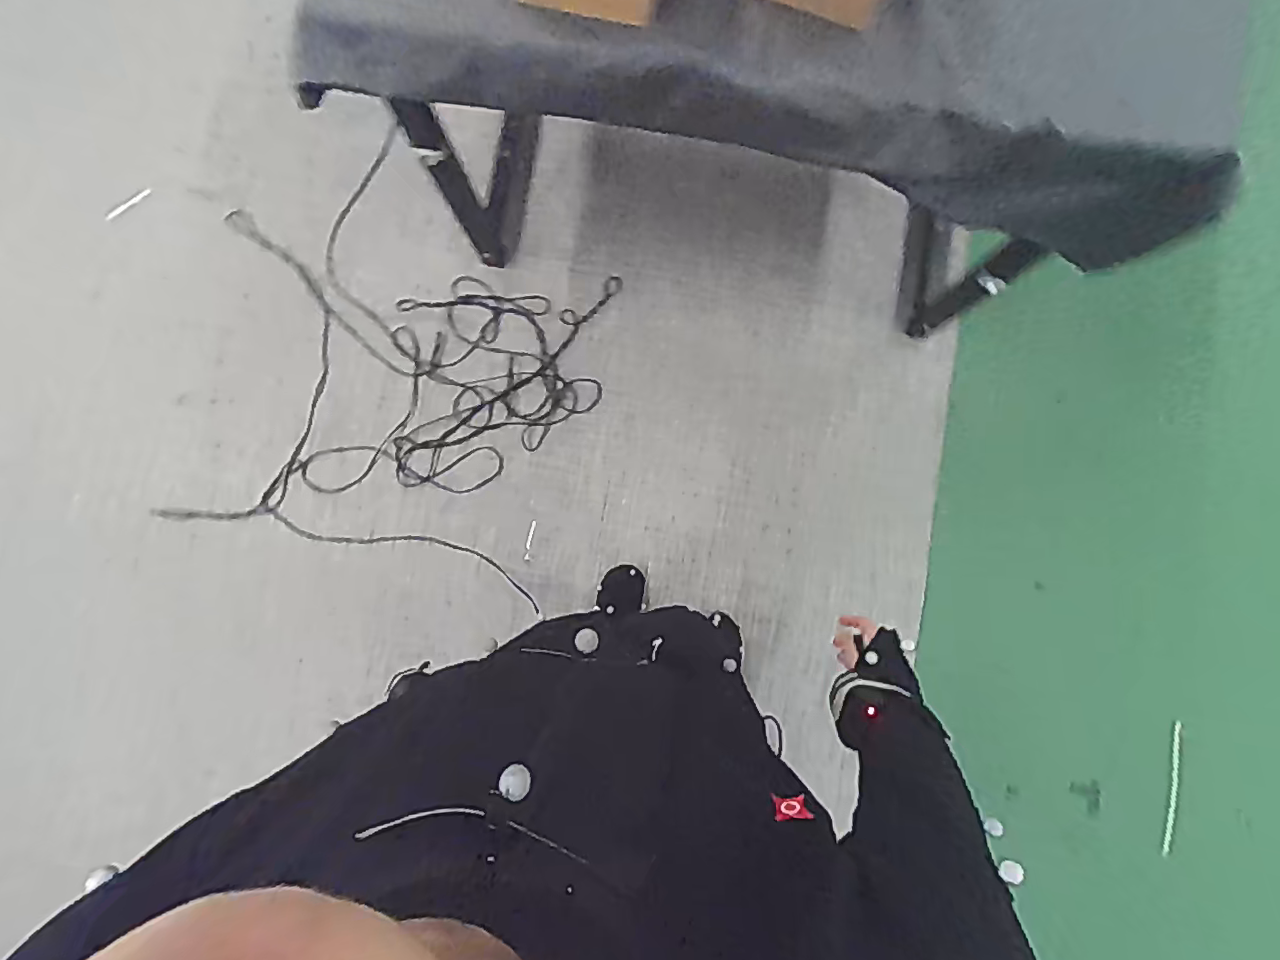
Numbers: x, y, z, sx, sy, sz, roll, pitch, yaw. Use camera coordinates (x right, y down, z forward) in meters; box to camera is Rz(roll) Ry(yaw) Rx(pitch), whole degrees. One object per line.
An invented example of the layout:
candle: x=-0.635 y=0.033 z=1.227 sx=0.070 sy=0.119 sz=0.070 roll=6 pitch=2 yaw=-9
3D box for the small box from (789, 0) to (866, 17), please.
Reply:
small box: x=0.227 y=-0.691 z=0.619 sx=0.179 sy=0.176 sz=0.168 roll=19 pitch=84 yaw=3

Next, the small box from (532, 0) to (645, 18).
small box: x=-0.070 y=-0.684 z=0.619 sx=0.179 sy=0.176 sz=0.168 roll=11 pitch=84 yaw=0
